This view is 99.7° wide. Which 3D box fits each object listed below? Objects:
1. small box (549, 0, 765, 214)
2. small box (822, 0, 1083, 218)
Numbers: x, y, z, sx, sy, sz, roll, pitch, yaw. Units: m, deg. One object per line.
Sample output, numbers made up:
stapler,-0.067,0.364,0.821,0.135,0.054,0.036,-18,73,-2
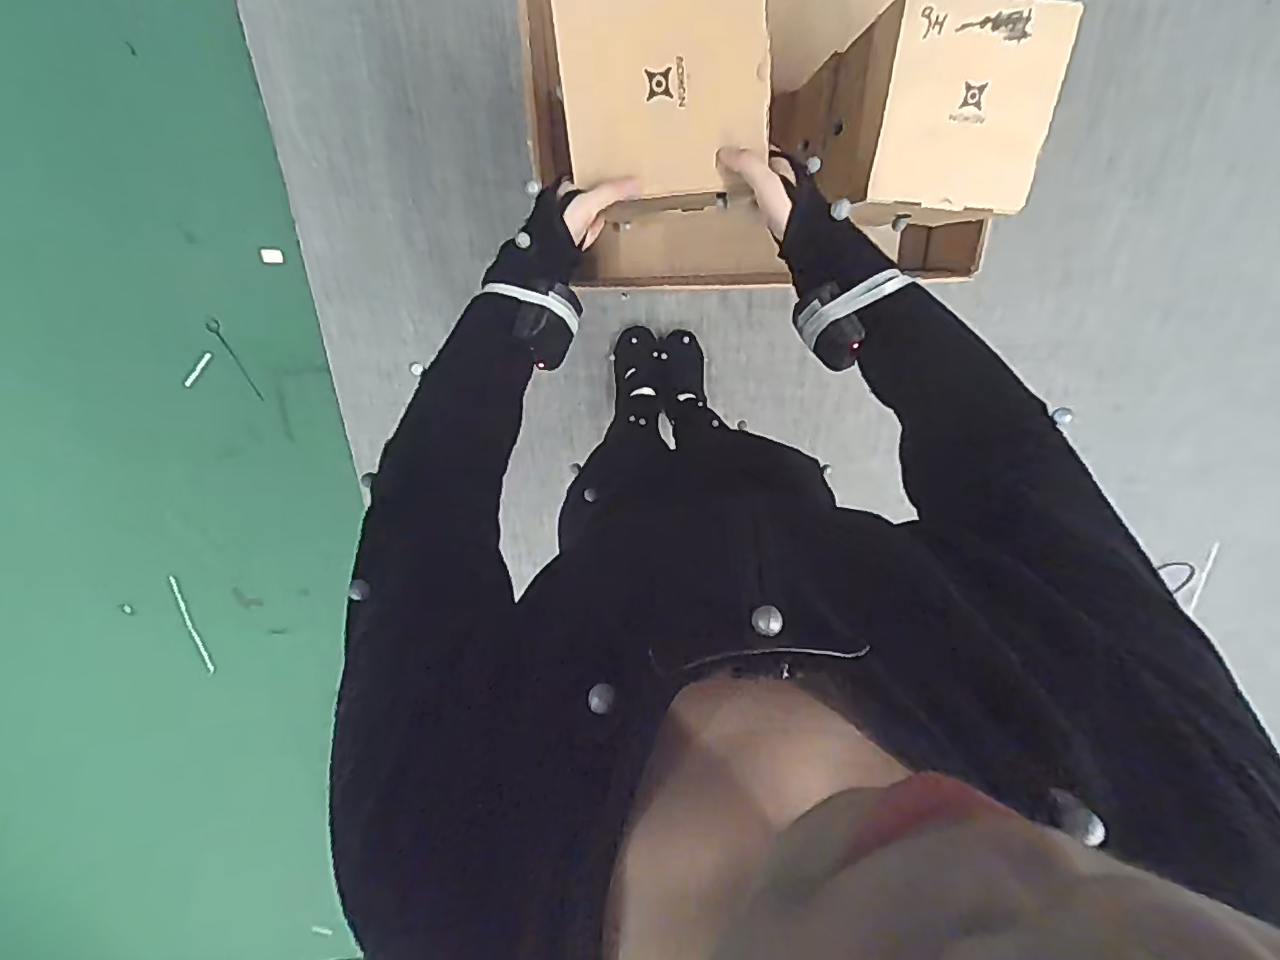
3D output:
small box,0.024,-0.365,0.531,0.179,0.176,0.168,-4,111,5
small box,0.313,-0.389,0.590,0.168,0.176,0.179,4,113,-2
